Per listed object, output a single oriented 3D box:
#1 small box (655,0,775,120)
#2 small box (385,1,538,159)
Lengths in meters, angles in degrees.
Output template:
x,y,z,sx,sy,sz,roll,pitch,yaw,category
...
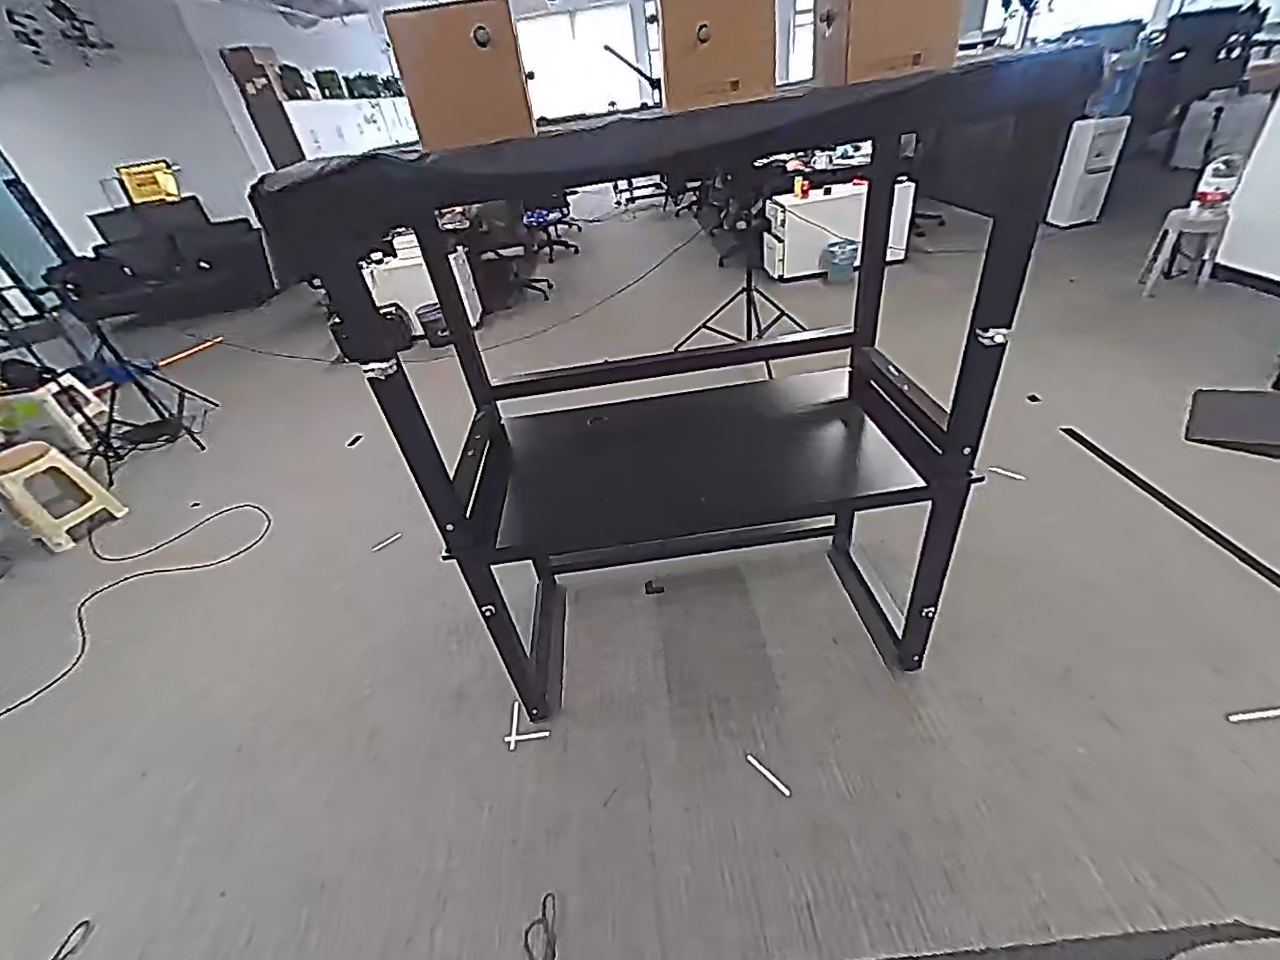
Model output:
x,y,z,sx,sy,sz,roll,pitch,yaw,category
0.116,-0.683,0.855,0.168,0.176,0.179,-7,34,4,small box
-0.261,-0.615,0.845,0.179,0.176,0.168,-11,34,-2,small box
